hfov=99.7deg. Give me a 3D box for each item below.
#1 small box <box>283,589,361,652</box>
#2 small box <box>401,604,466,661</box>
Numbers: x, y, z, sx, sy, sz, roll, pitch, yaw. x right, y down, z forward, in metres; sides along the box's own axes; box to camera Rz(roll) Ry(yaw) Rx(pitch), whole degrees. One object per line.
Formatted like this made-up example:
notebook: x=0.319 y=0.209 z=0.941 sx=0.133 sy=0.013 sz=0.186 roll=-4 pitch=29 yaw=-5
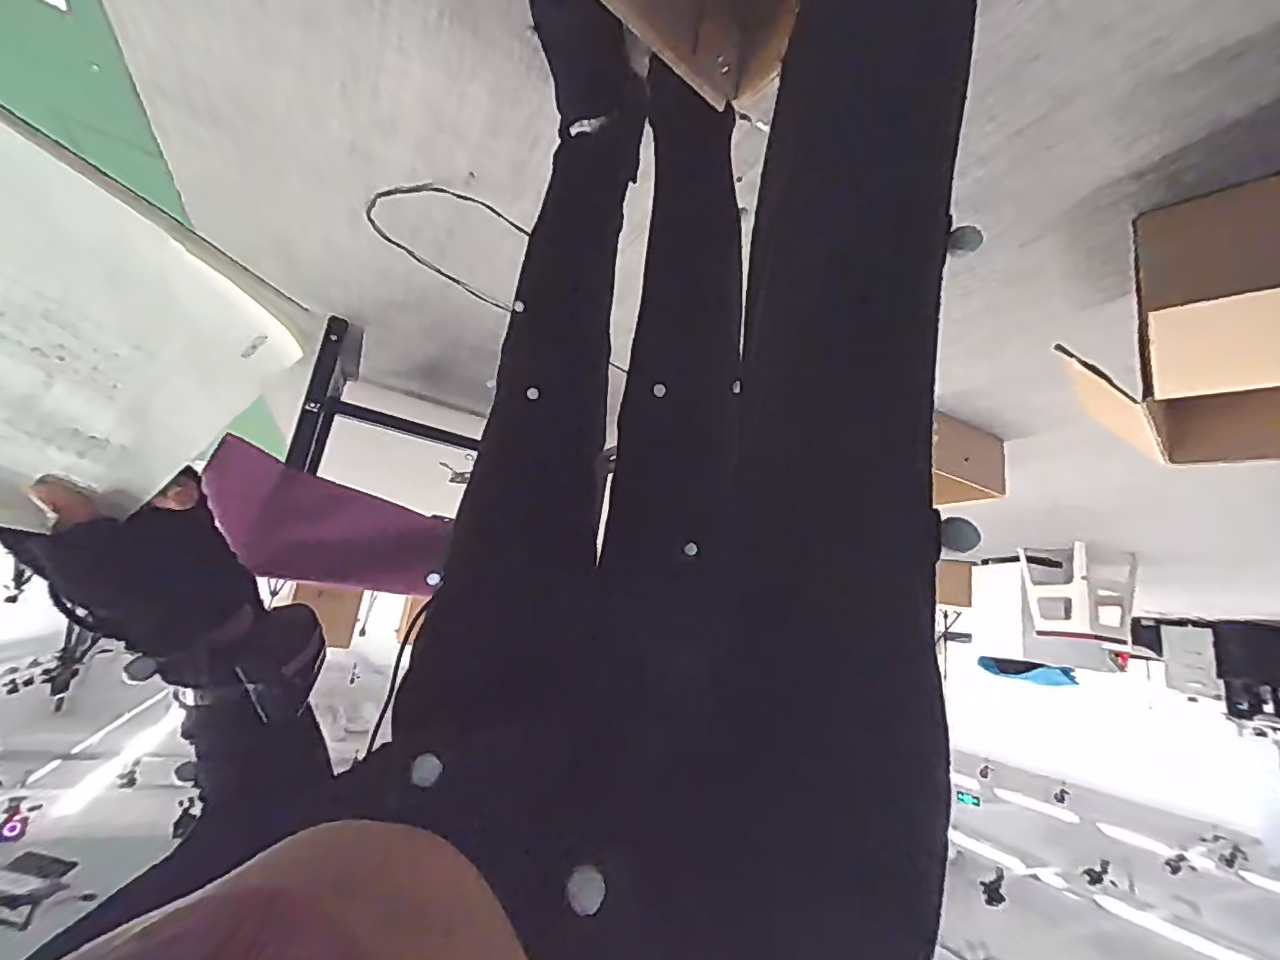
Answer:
small box: x=-0.987 y=0.433 z=1.680 sx=0.168 sy=0.176 sz=0.179 roll=18 pitch=161 yaw=-33
small box: x=-0.707 y=0.519 z=1.855 sx=0.168 sy=0.176 sz=0.179 roll=16 pitch=164 yaw=-26
